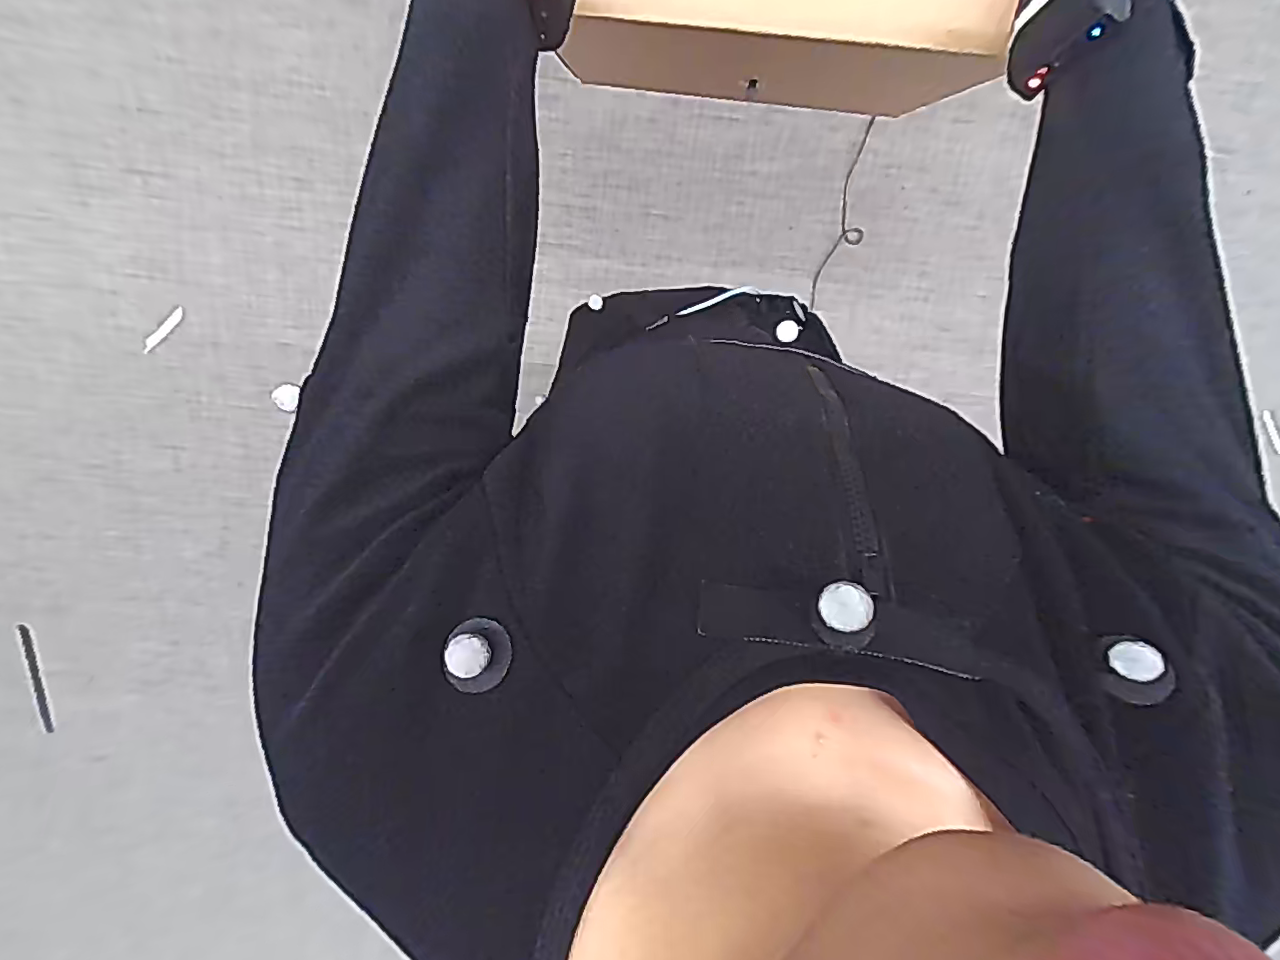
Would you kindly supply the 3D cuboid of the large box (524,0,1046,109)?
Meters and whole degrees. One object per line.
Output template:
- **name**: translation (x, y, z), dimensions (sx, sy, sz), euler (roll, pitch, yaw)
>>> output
- **large box**: translation (0.128, -0.550, 0.486), dimensions (0.408, 0.320, 0.320), euler (6, 117, 0)
